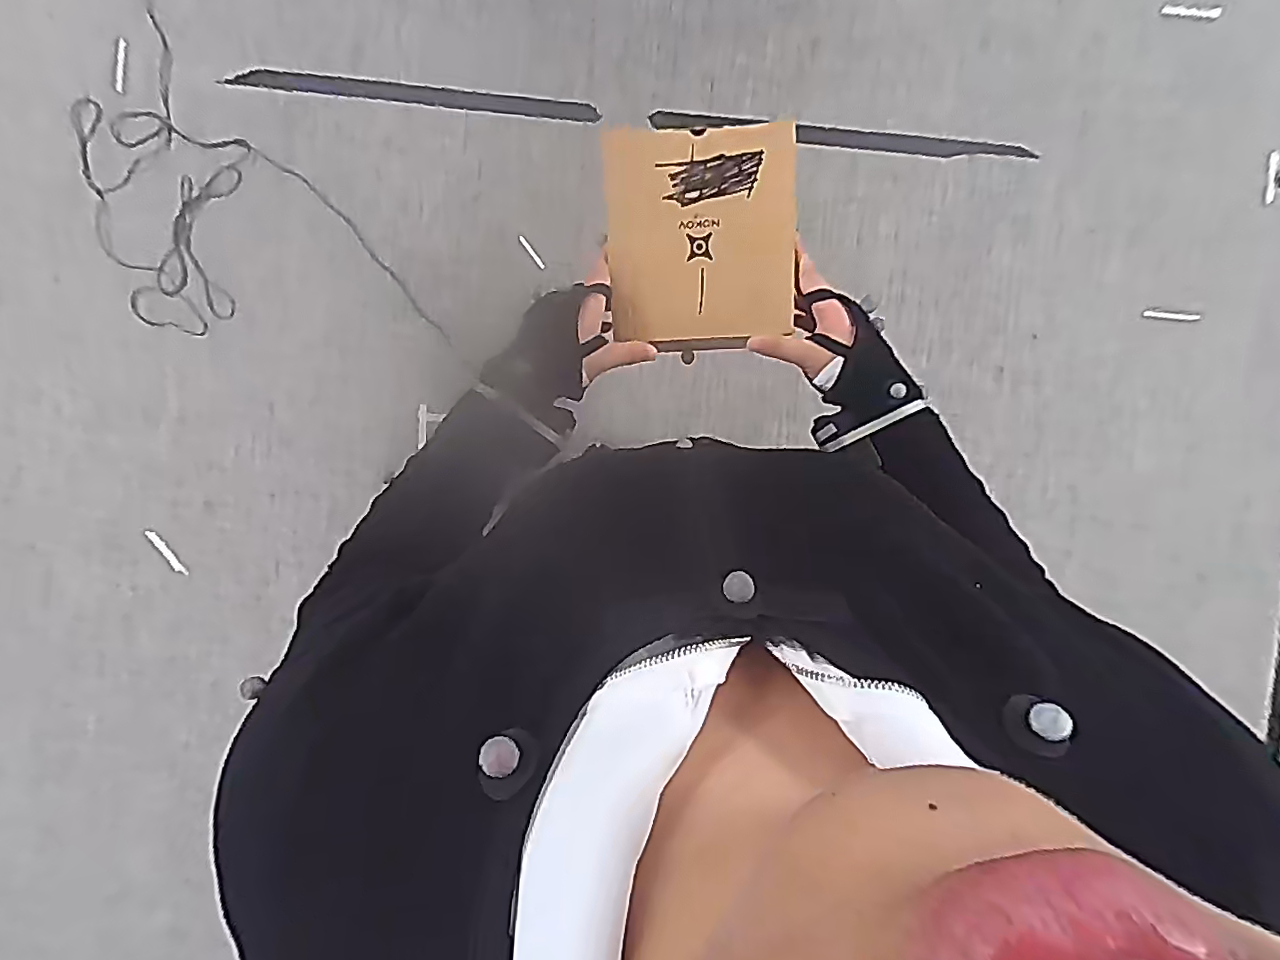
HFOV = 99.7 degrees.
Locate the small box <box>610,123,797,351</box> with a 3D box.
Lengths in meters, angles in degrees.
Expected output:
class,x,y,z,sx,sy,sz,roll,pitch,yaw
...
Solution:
class,x,y,z,sx,sy,sz,roll,pitch,yaw
small box,0.057,-0.231,0.556,0.168,0.176,0.179,-3,100,2
